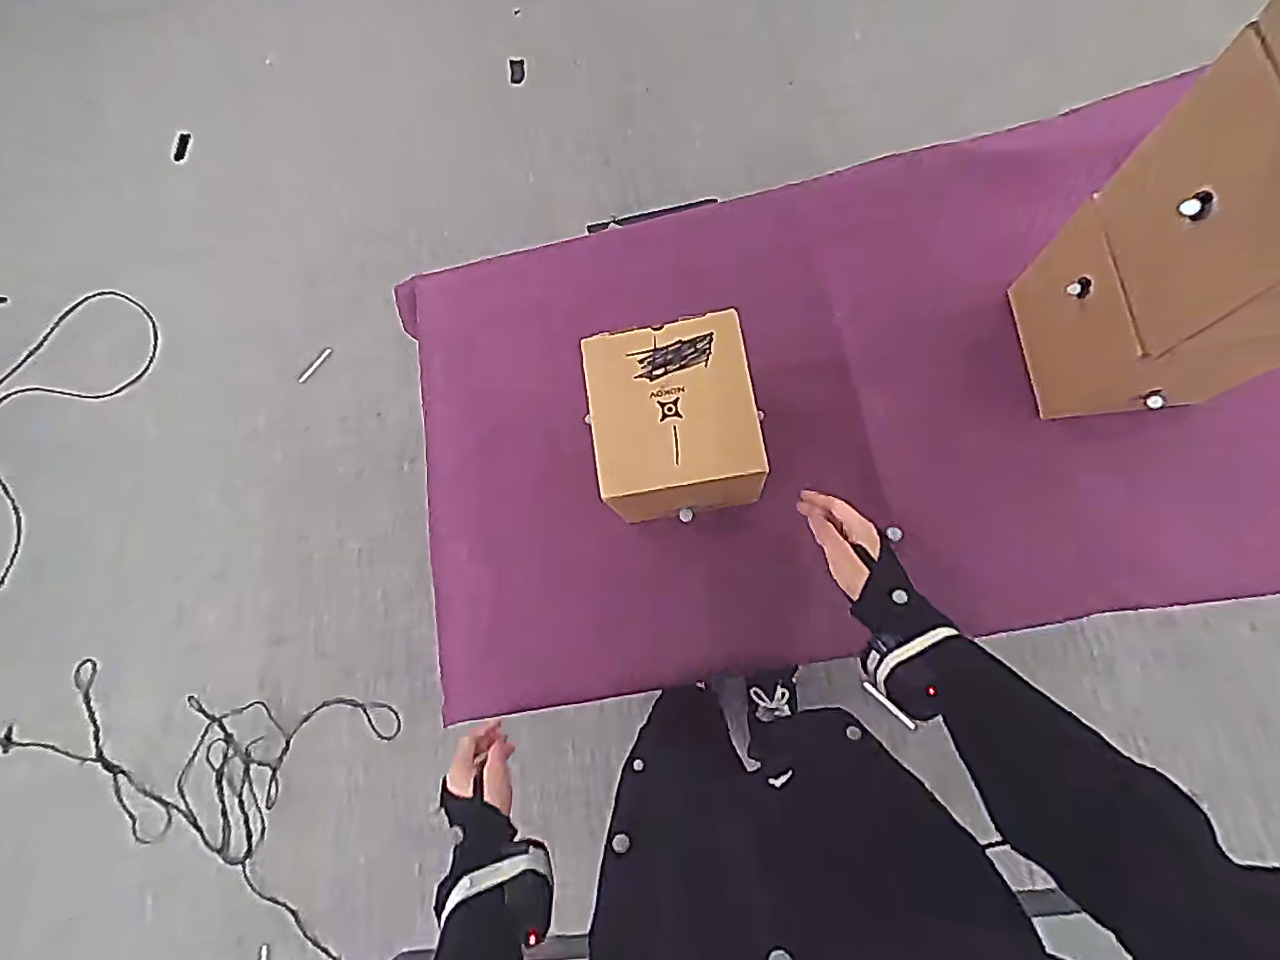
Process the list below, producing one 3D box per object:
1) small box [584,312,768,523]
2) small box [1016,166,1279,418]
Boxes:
[{"bbox_3d":[0.041,-0.058,0.612,0.168,0.176,0.179,-9,76,6],"label":"small box"},{"bbox_3d":[0.532,-0.181,0.565,0.168,0.176,0.179,-6,76,8],"label":"small box"}]
